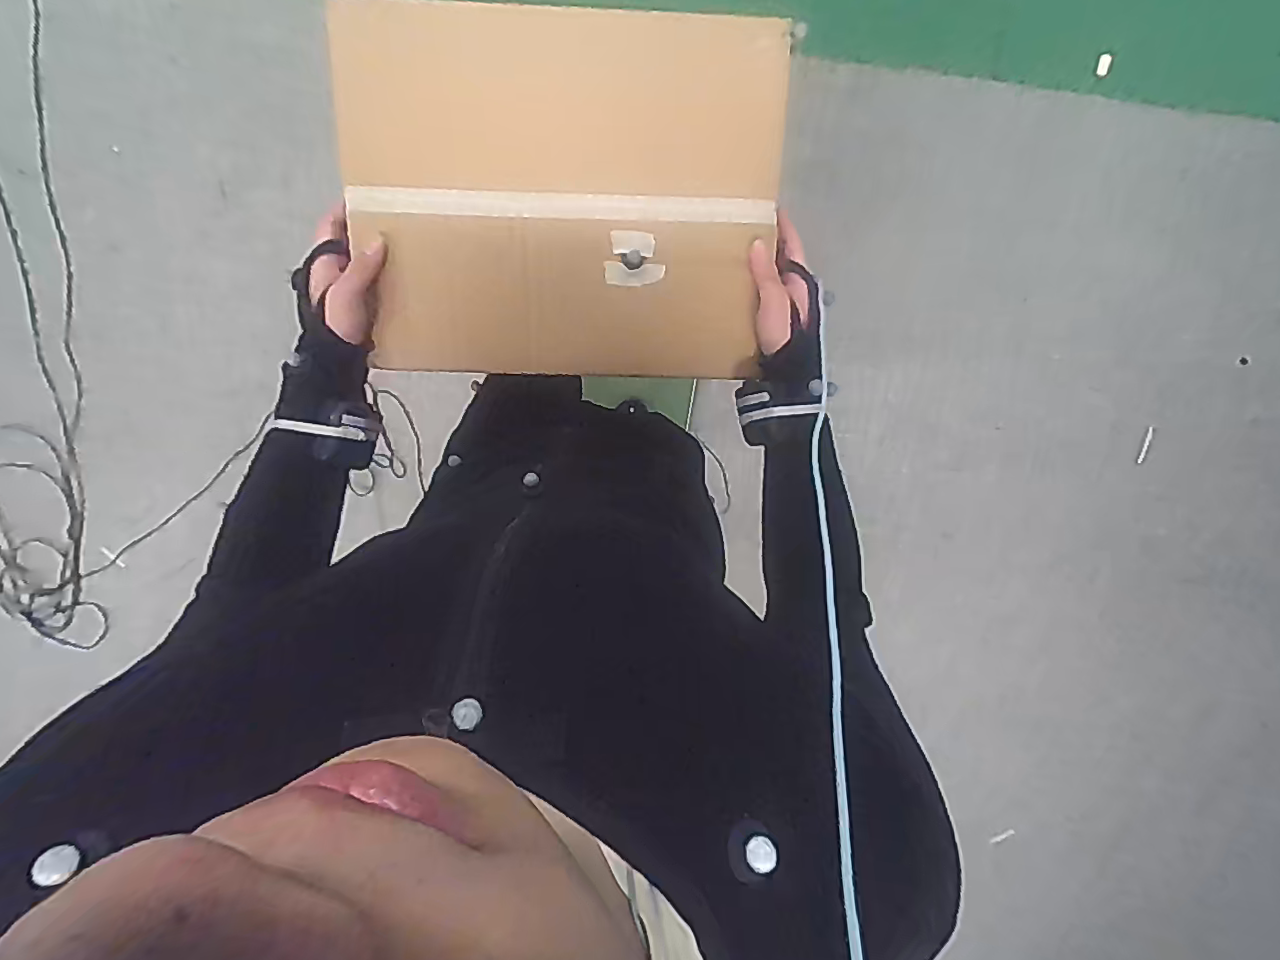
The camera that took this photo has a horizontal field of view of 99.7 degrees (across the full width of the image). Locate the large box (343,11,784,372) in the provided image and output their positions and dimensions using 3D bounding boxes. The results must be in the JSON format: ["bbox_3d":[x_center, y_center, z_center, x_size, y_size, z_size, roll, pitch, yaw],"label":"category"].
[{"bbox_3d":[-0.075,-0.301,0.665,0.408,0.320,0.320,1,106,-3],"label":"large box"}]
